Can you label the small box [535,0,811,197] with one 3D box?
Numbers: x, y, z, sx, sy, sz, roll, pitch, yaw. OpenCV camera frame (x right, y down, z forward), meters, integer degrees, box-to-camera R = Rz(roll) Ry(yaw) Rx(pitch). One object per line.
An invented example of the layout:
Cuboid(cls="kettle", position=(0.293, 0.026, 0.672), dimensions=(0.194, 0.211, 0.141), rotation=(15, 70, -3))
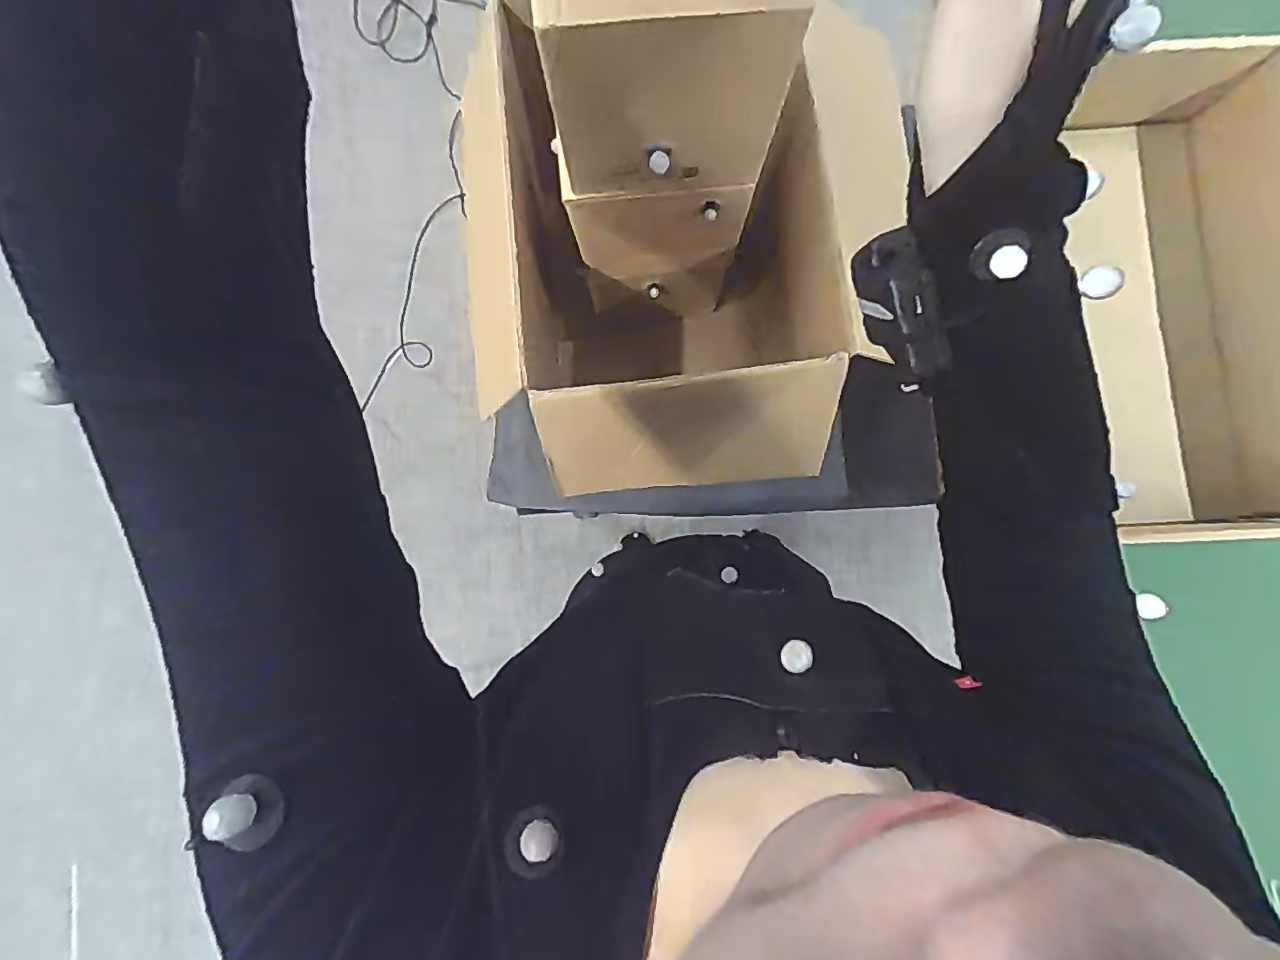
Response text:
Cuboid(cls="small box", position=(0.016, -0.344, 0.403), dimensions=(0.168, 0.176, 0.179), rotation=(-4, 88, 1))
